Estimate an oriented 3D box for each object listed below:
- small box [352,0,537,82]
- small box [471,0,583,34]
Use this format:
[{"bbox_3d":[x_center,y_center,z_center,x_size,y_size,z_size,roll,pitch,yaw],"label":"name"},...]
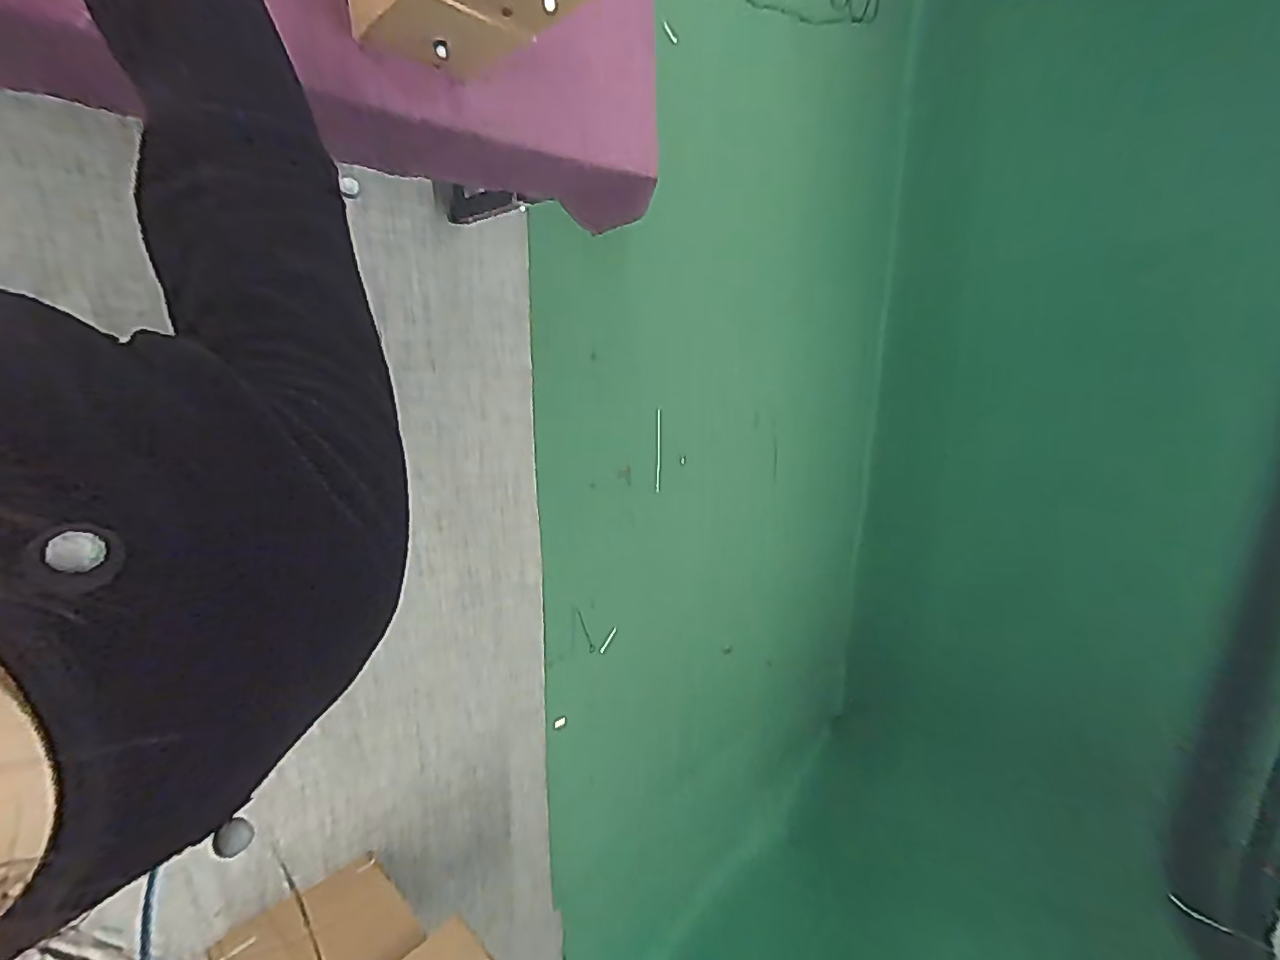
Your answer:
[{"bbox_3d":[-0.246,-0.633,0.664,0.168,0.176,0.179,-16,110,-45],"label":"small box"},{"bbox_3d":[-0.128,-0.612,0.553,0.168,0.176,0.179,-13,108,-45],"label":"small box"}]
